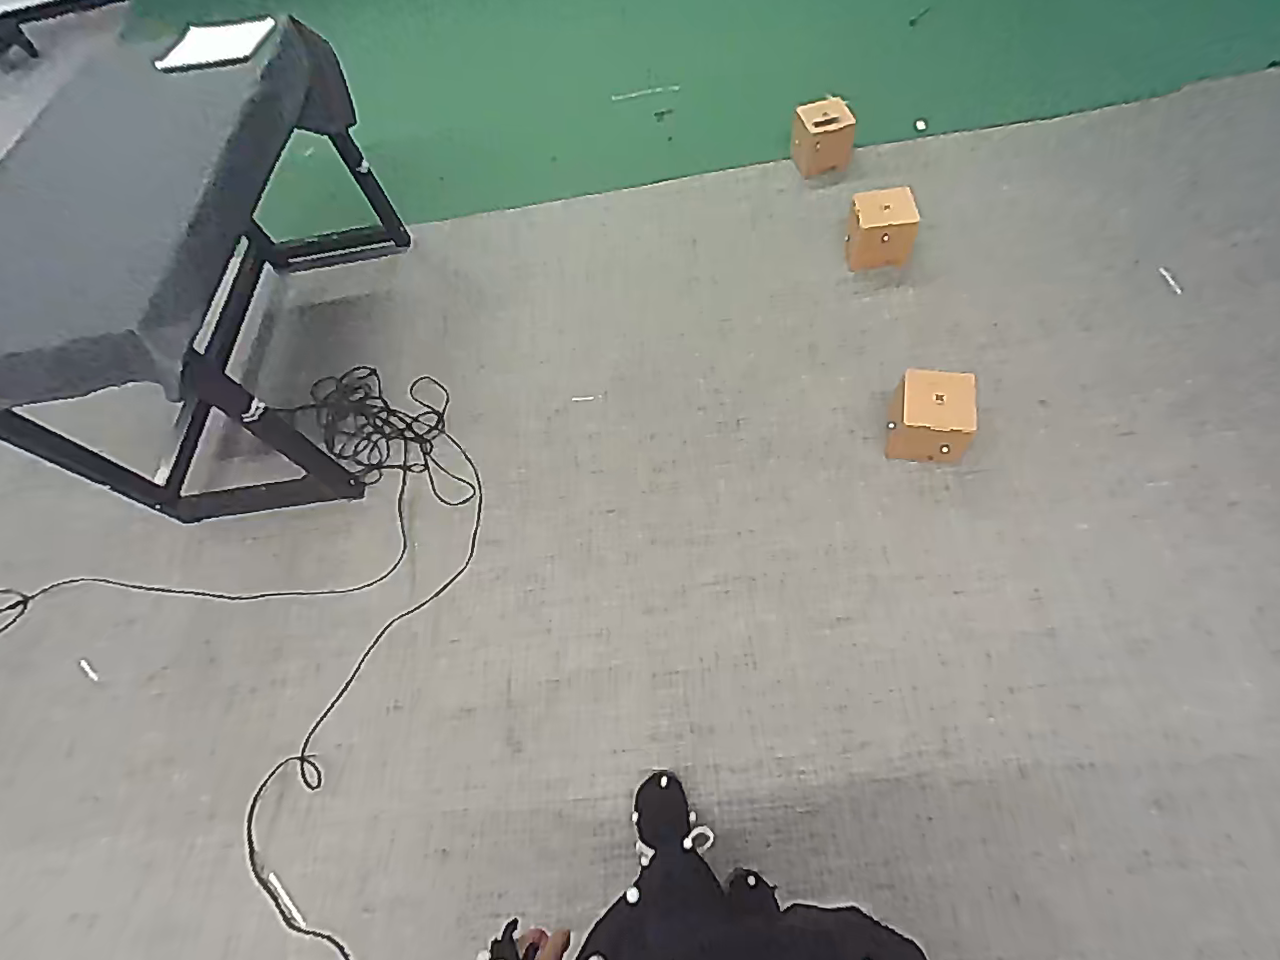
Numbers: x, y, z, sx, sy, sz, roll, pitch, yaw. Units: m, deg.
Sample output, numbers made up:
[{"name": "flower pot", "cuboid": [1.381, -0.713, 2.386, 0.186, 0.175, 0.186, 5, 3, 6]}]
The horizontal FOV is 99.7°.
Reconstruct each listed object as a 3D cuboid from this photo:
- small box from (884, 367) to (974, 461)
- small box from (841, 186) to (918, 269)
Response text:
[{"name": "small box", "cuboid": [0.745, -0.168, 1.407, 0.168, 0.176, 0.179, 8, 63, 11]}, {"name": "small box", "cuboid": [0.763, -0.807, 1.739, 0.179, 0.176, 0.168, -4, 62, 7]}]
